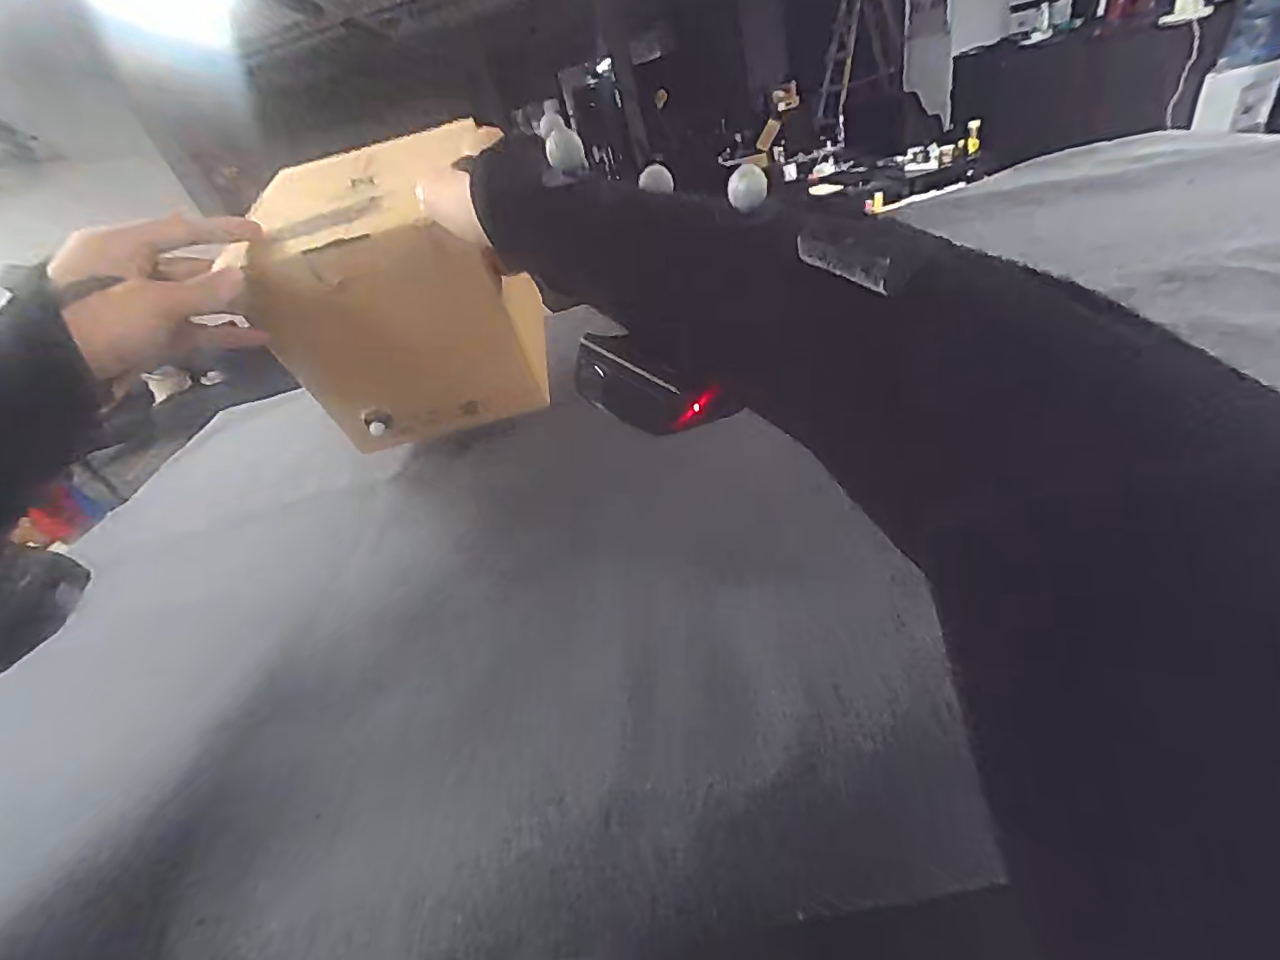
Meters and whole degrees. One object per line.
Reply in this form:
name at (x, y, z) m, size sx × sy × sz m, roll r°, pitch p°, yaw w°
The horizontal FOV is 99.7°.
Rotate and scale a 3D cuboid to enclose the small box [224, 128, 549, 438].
small box at (-0.178, -0.153, 0.447) m, size 0.168 × 0.176 × 0.179 m, roll -13°, pitch 48°, yaw 2°
